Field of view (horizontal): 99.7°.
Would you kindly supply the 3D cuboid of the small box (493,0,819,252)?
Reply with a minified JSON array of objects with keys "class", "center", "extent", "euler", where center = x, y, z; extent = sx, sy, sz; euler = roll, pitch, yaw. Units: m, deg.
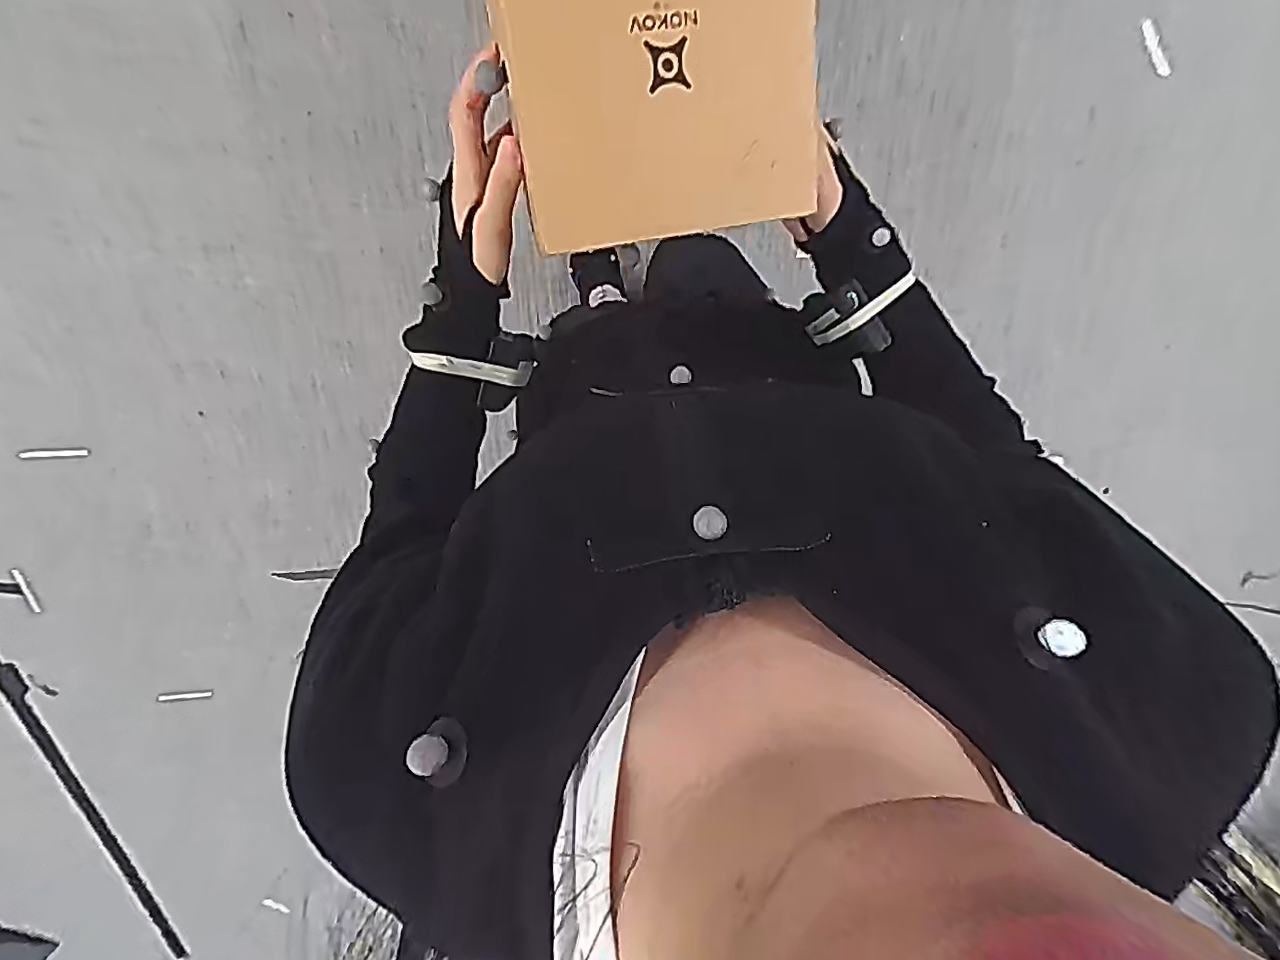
[{"class":"small box","center":[0.001,-0.253,0.351],"extent":[0.168,0.176,0.179],"euler":[-12,113,-6]}]
